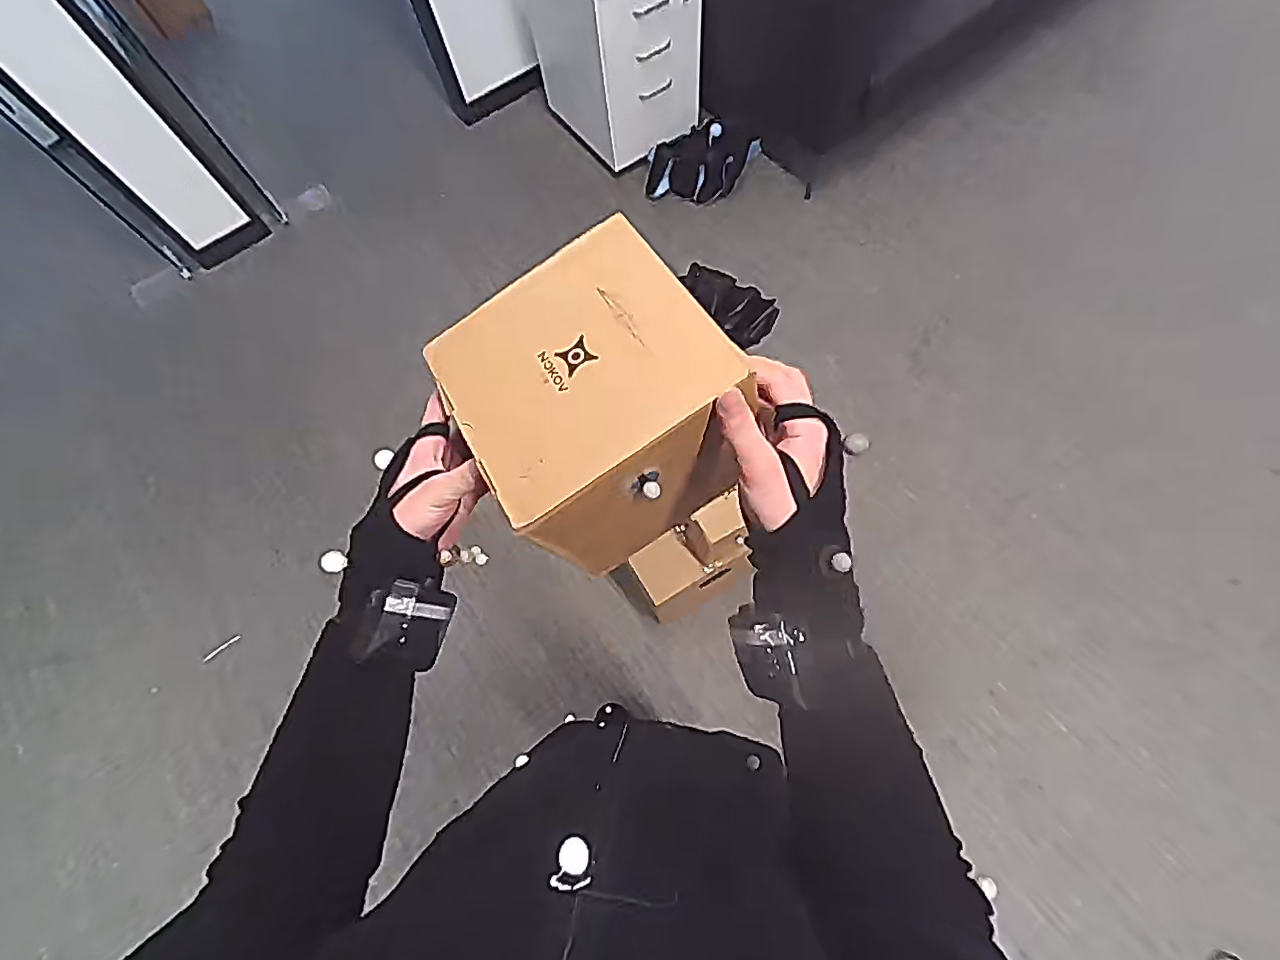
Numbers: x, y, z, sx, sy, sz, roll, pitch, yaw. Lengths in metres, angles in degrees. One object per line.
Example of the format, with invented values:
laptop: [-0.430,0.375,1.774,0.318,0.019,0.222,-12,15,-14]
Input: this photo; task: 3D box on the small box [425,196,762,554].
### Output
small box: [-0.021,-0.063,0.418,0.179,0.176,0.168,-34,68,-1]

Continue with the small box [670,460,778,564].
small box: [0.165,0.056,1.147,0.179,0.176,0.168,-28,67,-10]
